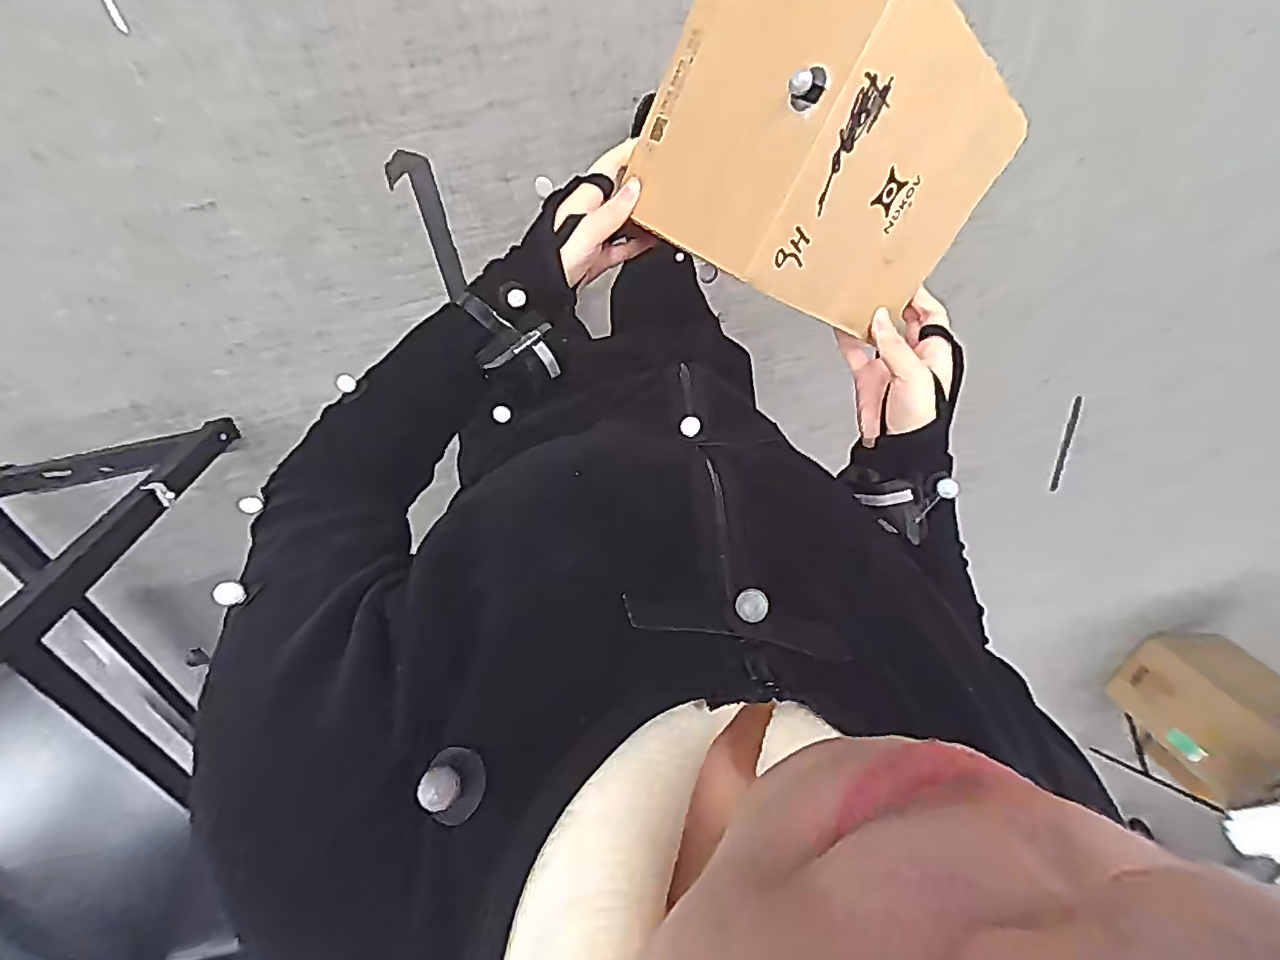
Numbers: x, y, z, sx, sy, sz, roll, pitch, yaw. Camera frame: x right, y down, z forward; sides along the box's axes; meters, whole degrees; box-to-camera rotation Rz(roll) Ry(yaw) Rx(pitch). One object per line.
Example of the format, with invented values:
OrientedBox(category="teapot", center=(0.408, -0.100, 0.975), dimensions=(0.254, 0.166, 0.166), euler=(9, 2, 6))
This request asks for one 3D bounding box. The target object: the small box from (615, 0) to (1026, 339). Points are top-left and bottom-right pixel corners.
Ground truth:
OrientedBox(category="small box", center=(0.115, -0.226, 0.382), dimensions=(0.179, 0.176, 0.168), euler=(5, 122, -42))
